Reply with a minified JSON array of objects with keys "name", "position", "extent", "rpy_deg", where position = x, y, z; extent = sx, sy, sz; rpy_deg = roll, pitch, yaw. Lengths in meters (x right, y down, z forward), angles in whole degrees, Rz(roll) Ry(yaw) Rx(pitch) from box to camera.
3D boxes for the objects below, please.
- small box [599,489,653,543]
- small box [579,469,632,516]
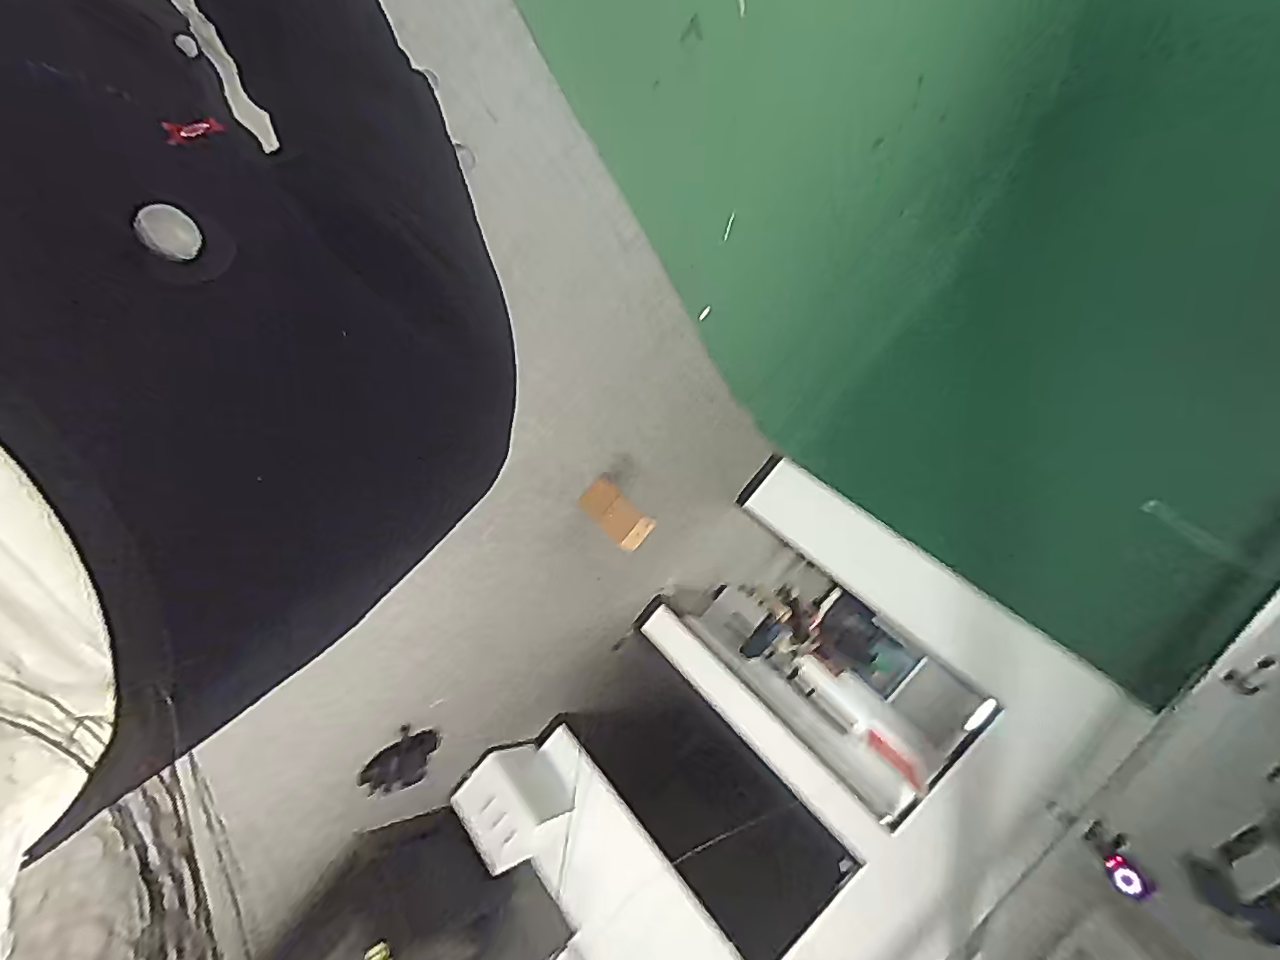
[{"name":"small box","position":[-0.074,0.174,2.585],"extent":[0.179,0.176,0.168],"rpy_deg":[-50,152,3]},{"name":"small box","position":[-0.178,0.075,2.666],"extent":[0.179,0.176,0.168],"rpy_deg":[-52,152,2]}]
